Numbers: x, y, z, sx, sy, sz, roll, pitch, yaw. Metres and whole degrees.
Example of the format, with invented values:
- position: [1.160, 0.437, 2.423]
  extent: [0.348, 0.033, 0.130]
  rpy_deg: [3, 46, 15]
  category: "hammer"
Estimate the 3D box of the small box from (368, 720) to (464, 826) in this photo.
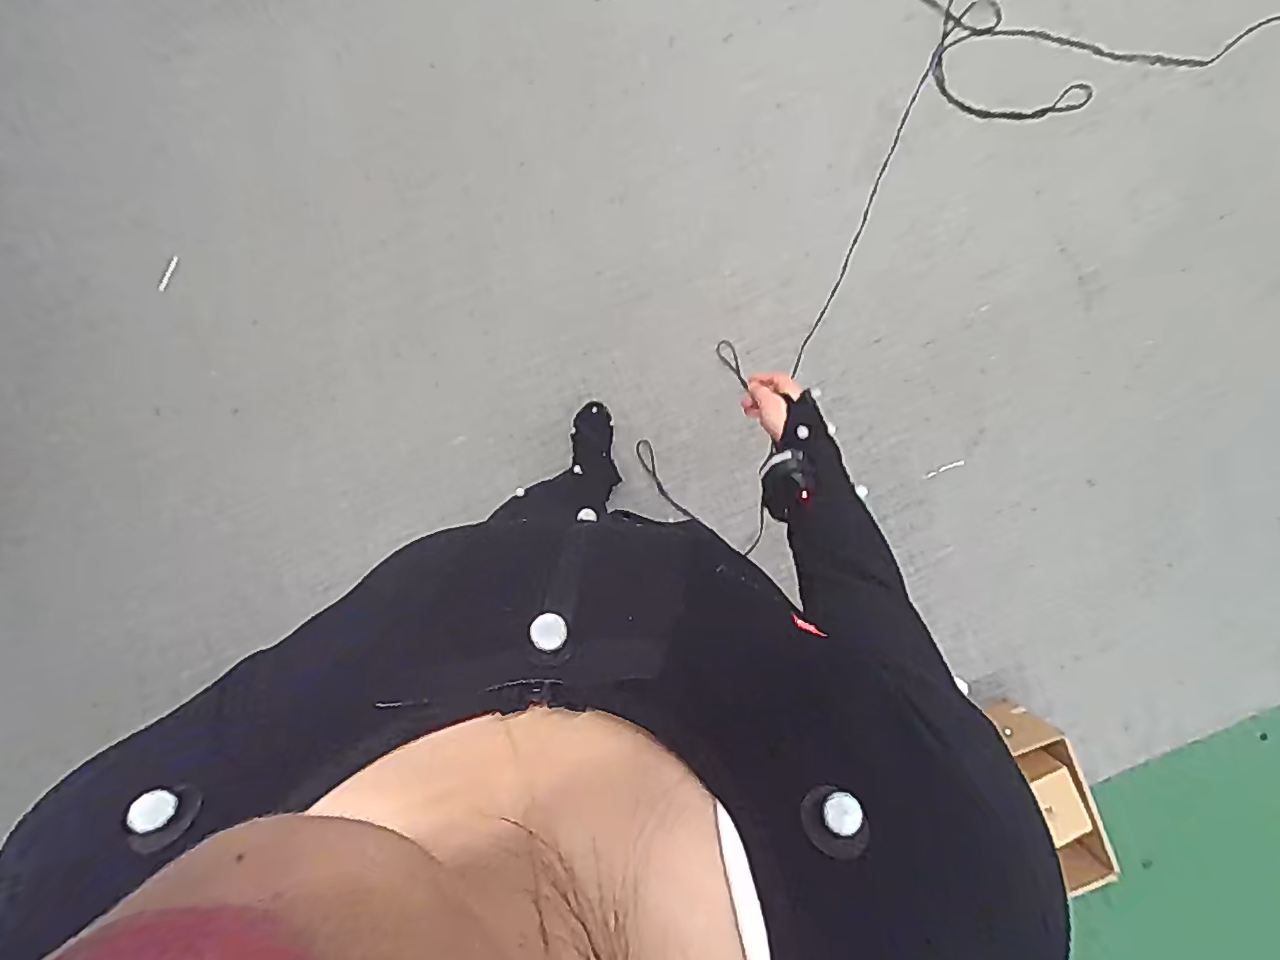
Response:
- position: [-0.571, 0.752, 1.408]
  extent: [0.179, 0.176, 0.168]
  rpy_deg: [-11, 92, -1]
  category: "small box"
